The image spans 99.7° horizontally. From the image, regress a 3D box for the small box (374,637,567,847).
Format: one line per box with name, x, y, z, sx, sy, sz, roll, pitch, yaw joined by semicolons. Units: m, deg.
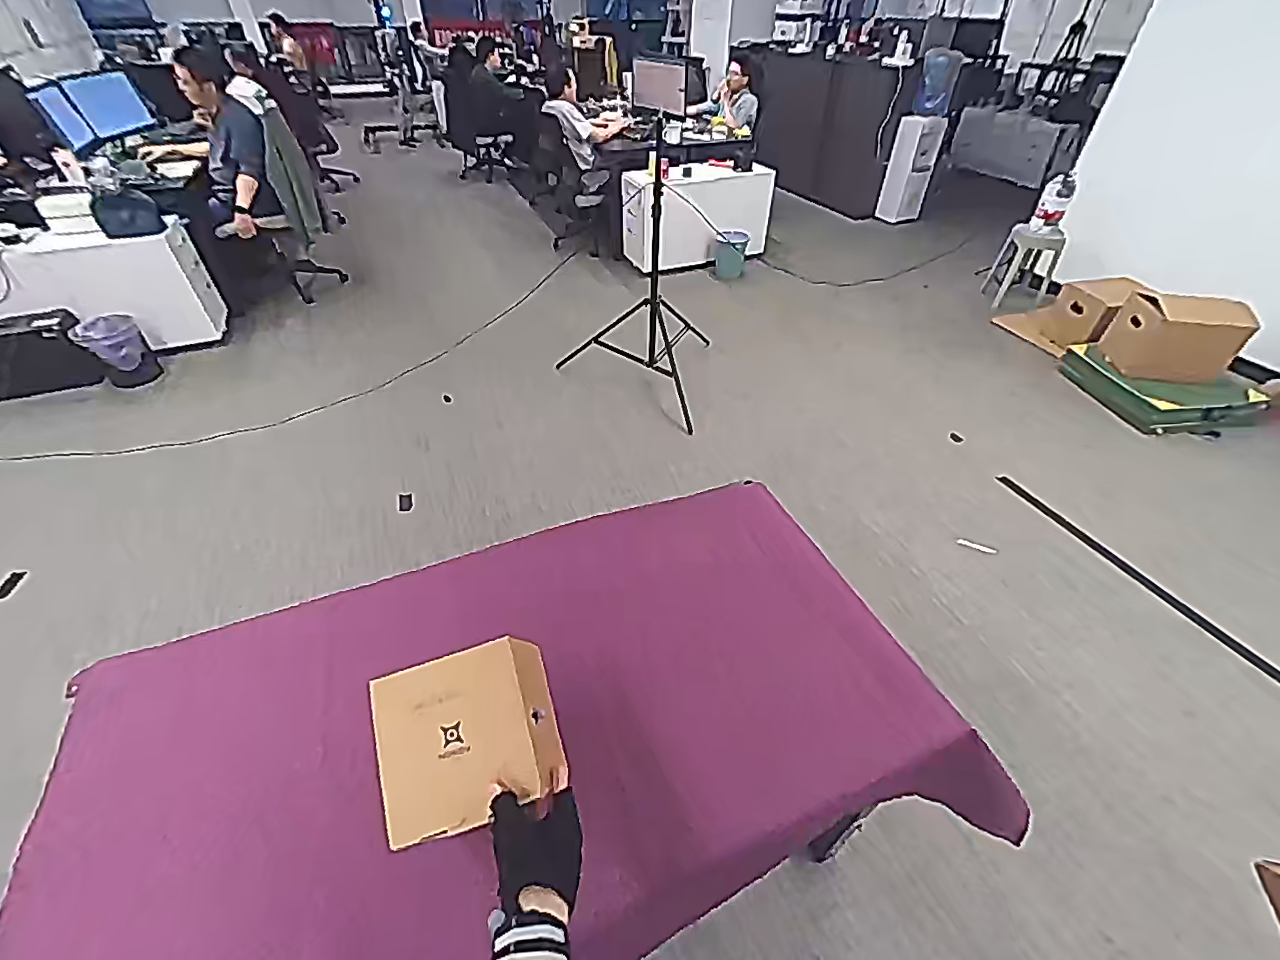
small box;-0.199;0.310;0.672;0.168;0.176;0.179;-18;69;-5
